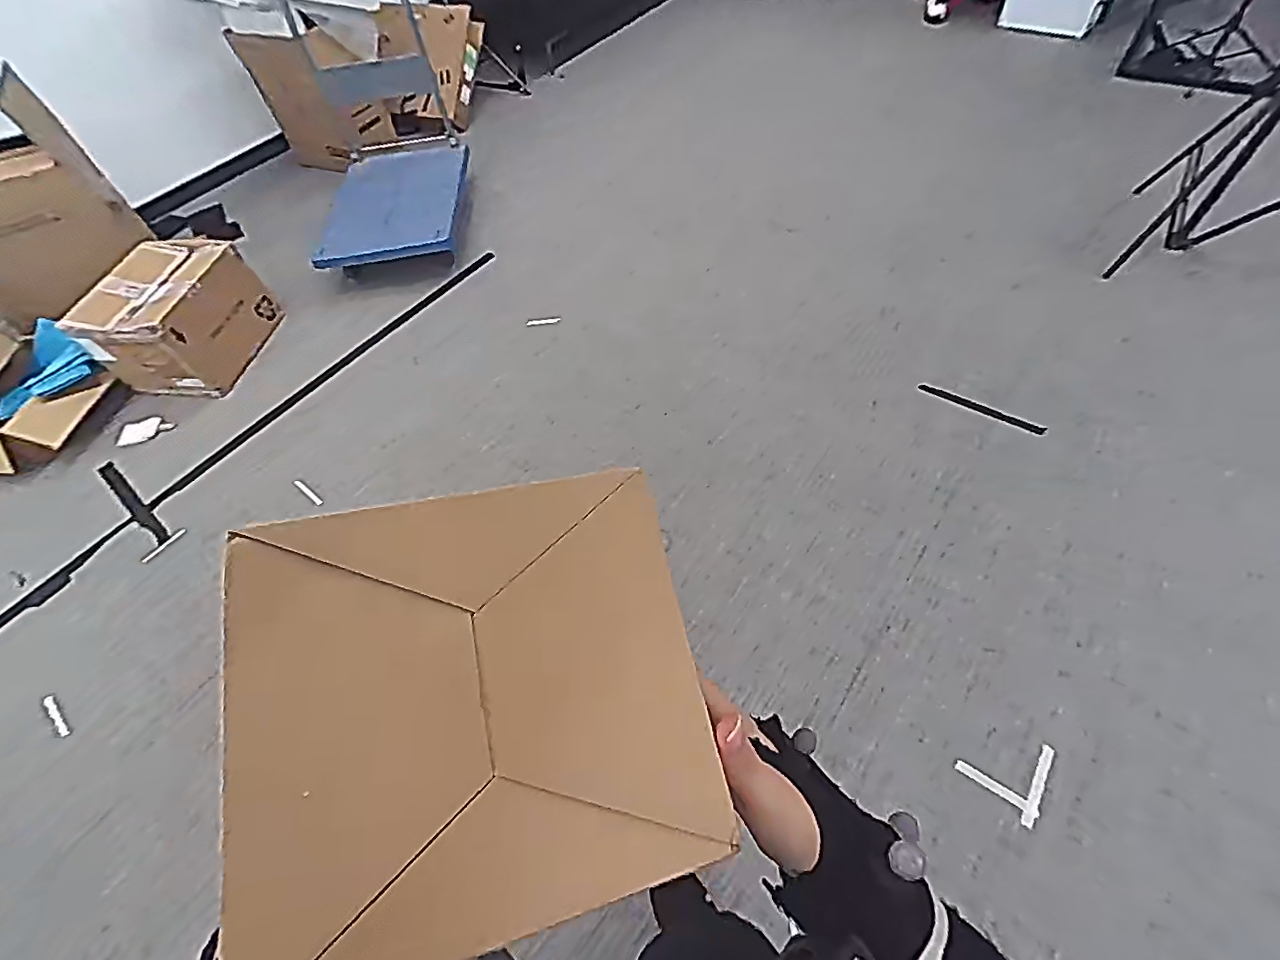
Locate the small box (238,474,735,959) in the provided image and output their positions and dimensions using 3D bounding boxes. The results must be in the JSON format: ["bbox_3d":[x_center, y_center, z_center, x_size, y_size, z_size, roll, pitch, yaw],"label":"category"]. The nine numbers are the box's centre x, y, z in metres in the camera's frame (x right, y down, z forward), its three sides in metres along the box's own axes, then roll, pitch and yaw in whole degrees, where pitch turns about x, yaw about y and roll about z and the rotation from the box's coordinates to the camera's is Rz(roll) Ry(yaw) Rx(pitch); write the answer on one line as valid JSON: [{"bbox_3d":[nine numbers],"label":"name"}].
[{"bbox_3d":[-0.073,0.107,0.285,0.179,0.176,0.168,-8,70,-18],"label":"small box"}]
